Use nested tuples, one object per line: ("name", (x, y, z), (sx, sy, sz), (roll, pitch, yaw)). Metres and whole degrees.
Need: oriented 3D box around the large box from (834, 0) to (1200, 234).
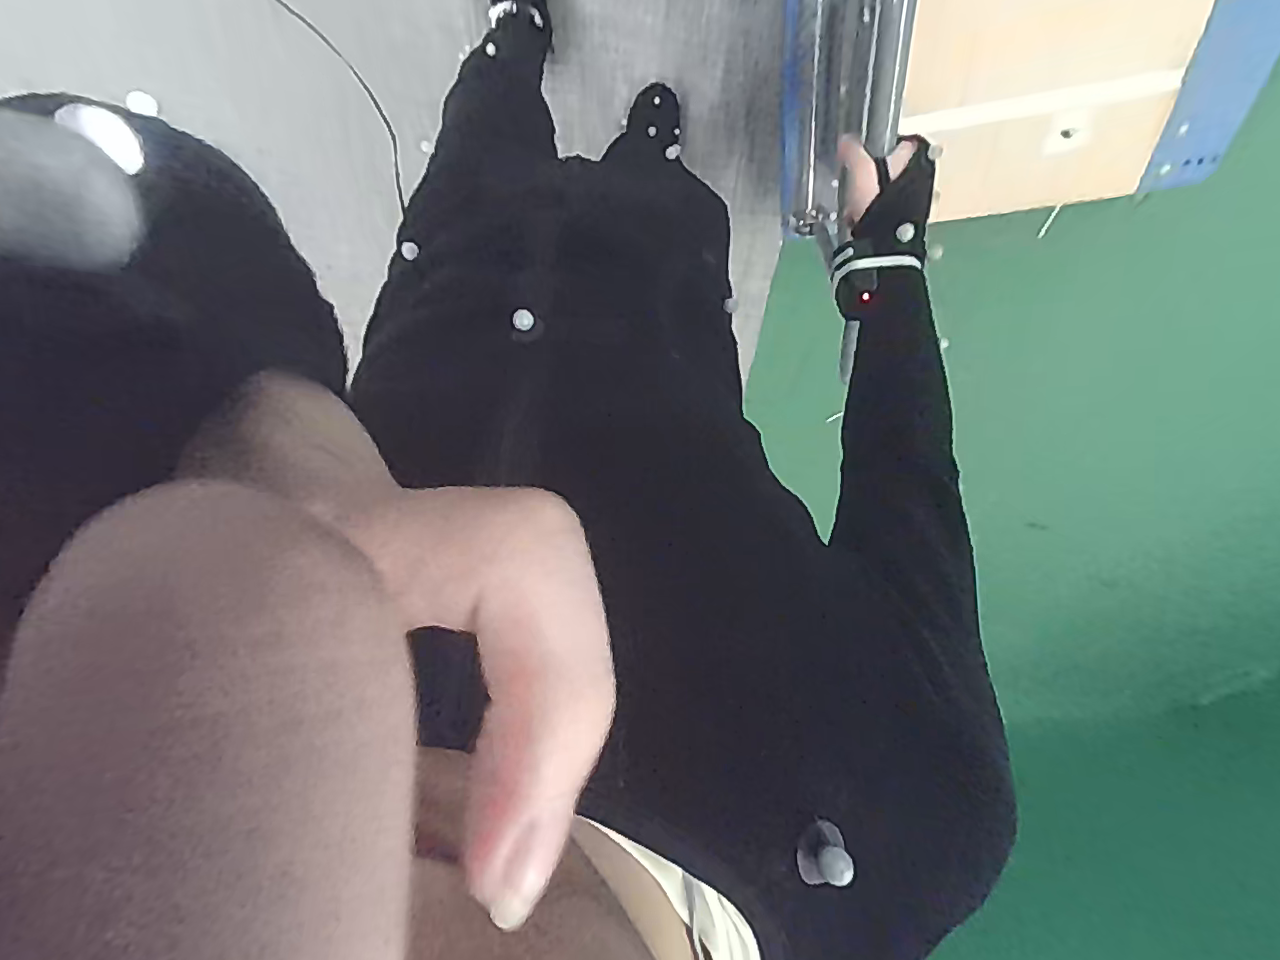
("large box", (0.575, -0.658, 0.925), (0.408, 0.320, 0.320), (-5, 133, 8))
